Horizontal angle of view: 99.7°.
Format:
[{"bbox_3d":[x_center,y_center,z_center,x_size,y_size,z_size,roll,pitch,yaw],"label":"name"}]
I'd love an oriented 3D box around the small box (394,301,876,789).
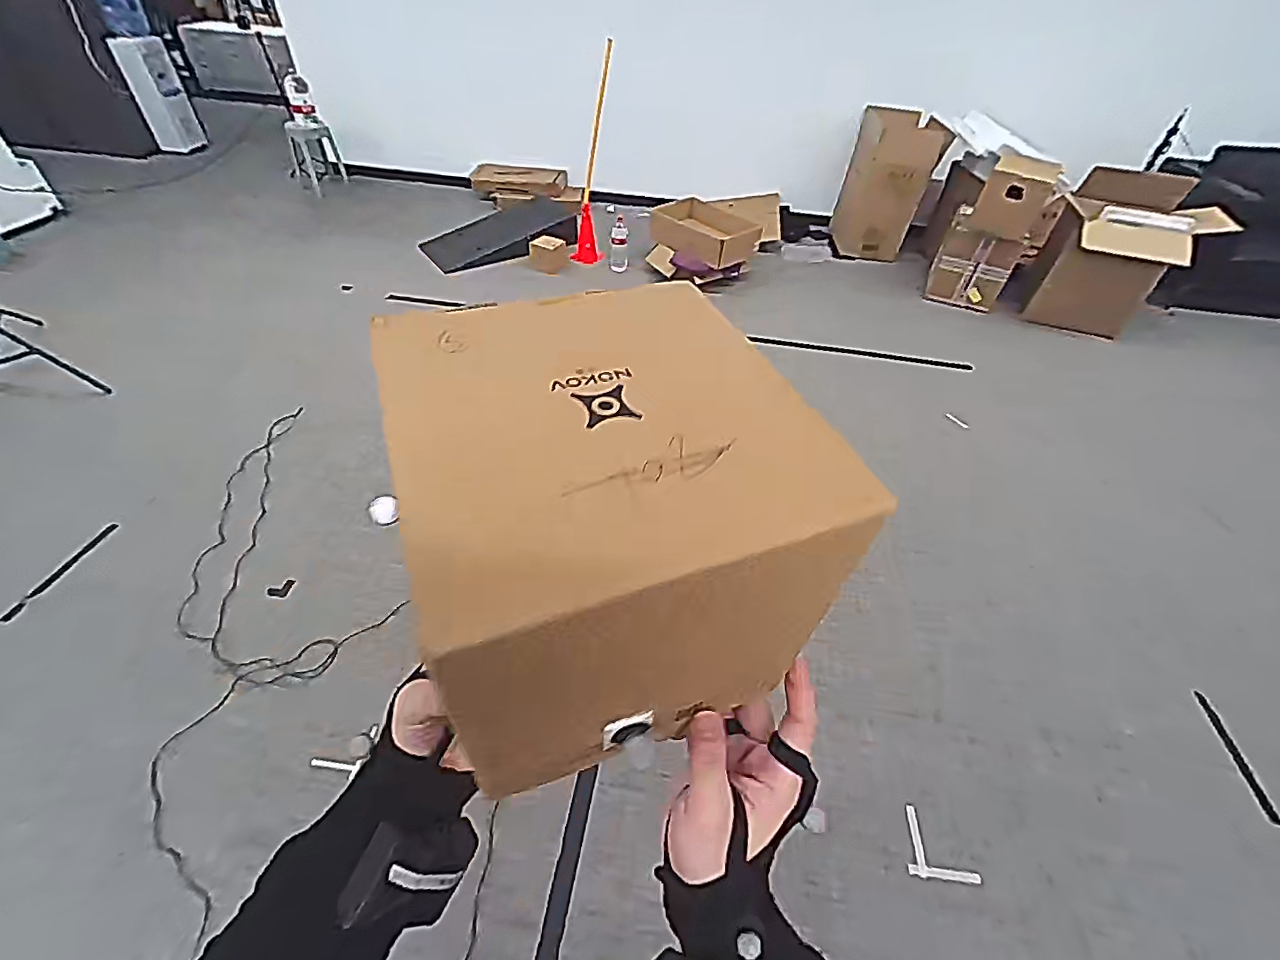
[{"bbox_3d":[-0.020,0.028,0.294,0.168,0.176,0.179,-15,50,-19],"label":"small box"}]
